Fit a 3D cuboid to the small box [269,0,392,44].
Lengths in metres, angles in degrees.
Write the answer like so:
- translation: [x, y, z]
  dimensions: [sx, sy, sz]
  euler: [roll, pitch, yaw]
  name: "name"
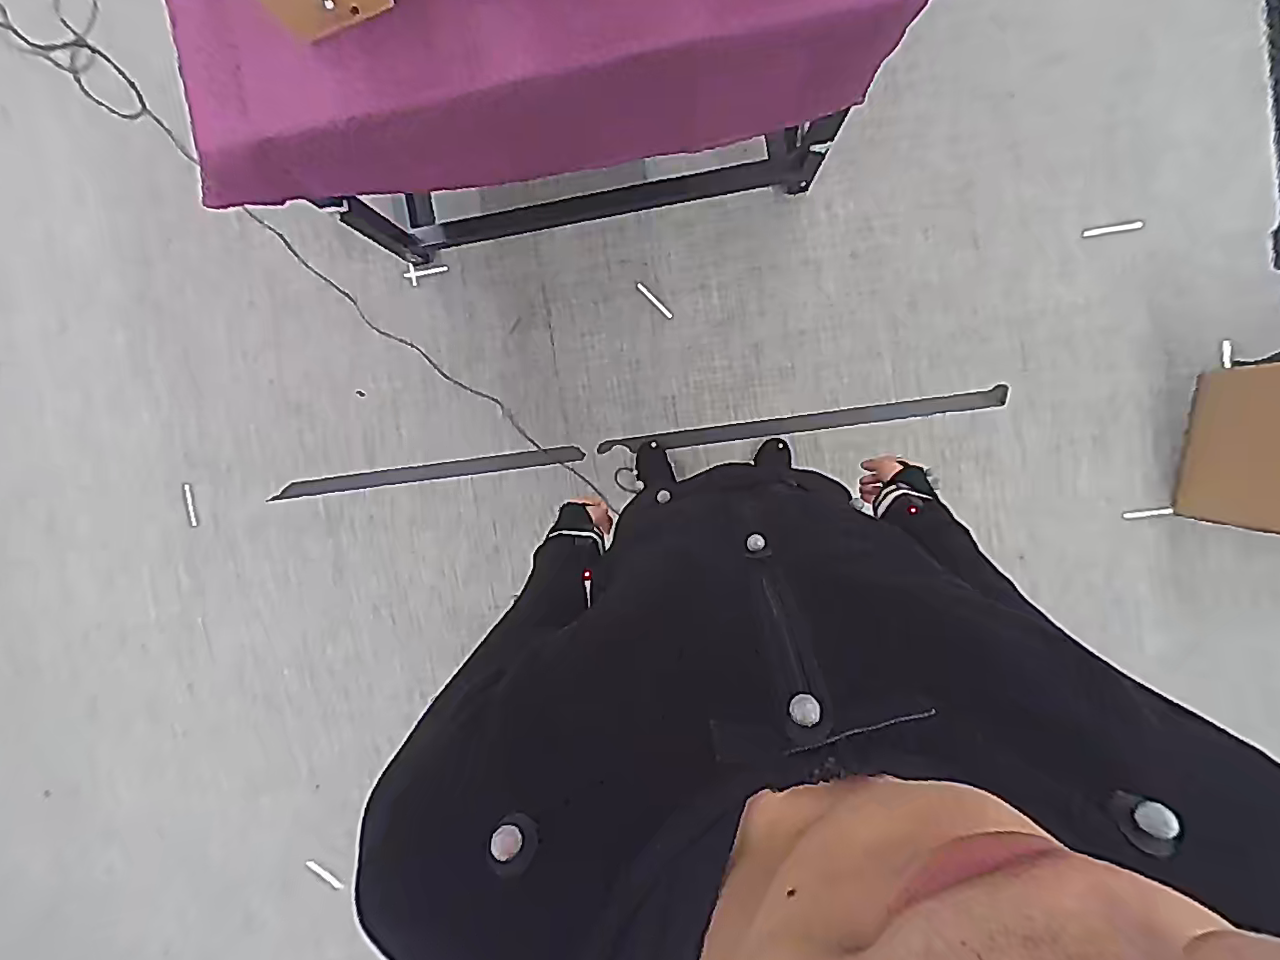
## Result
- translation: [-0.503, -0.811, 0.799]
  dimensions: [0.168, 0.176, 0.179]
  euler: [-17, 93, 6]
  name: "small box"
